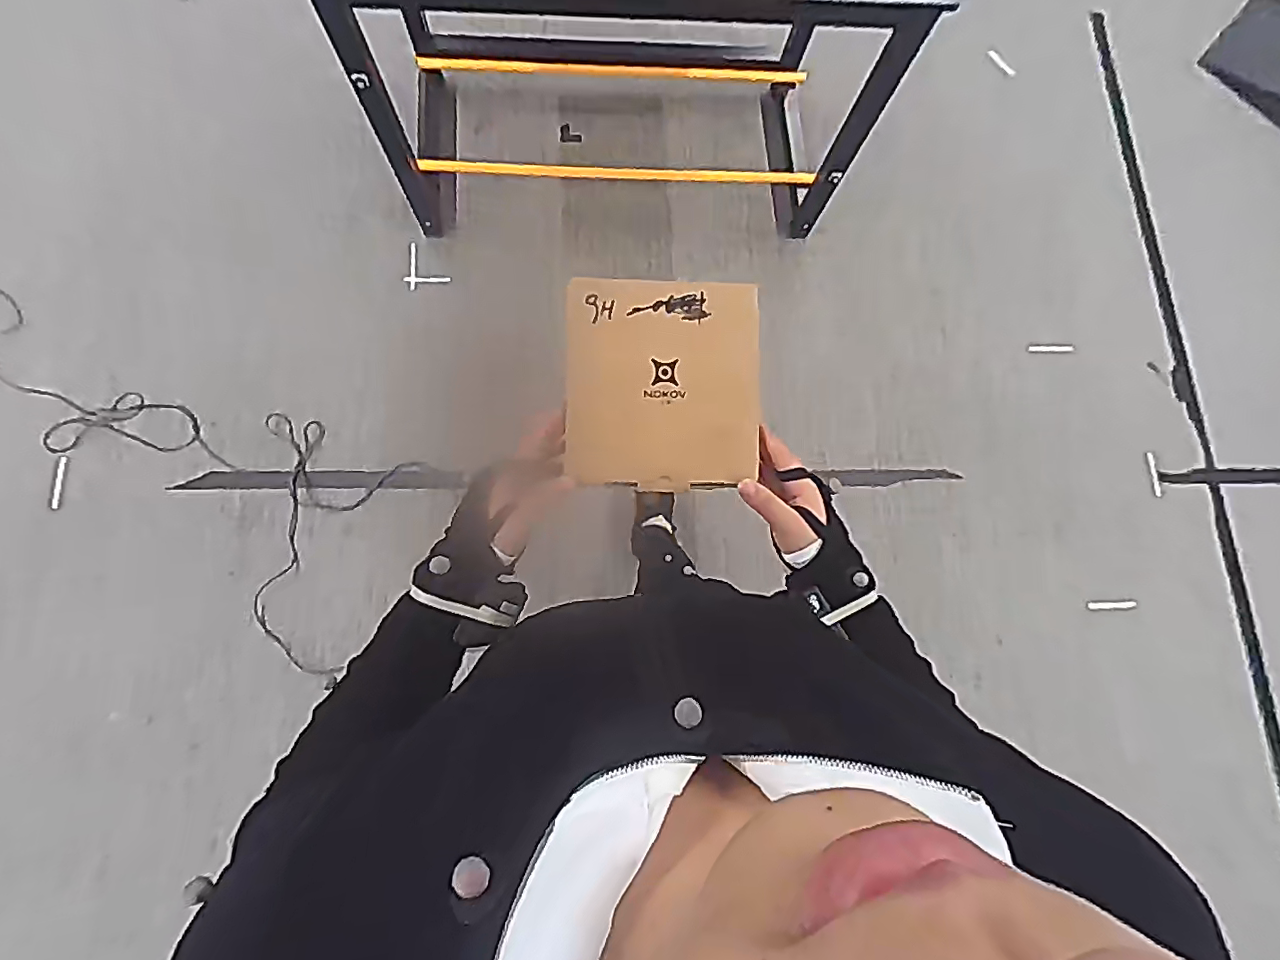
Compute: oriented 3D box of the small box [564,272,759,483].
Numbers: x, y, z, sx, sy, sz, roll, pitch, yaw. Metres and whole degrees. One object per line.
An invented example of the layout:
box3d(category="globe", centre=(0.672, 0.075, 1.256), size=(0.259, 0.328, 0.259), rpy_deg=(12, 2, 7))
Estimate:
box3d(category="small box", centre=(0.013, -0.086, 0.535), size=(0.168, 0.176, 0.179), rpy_deg=(0, 90, -5))
